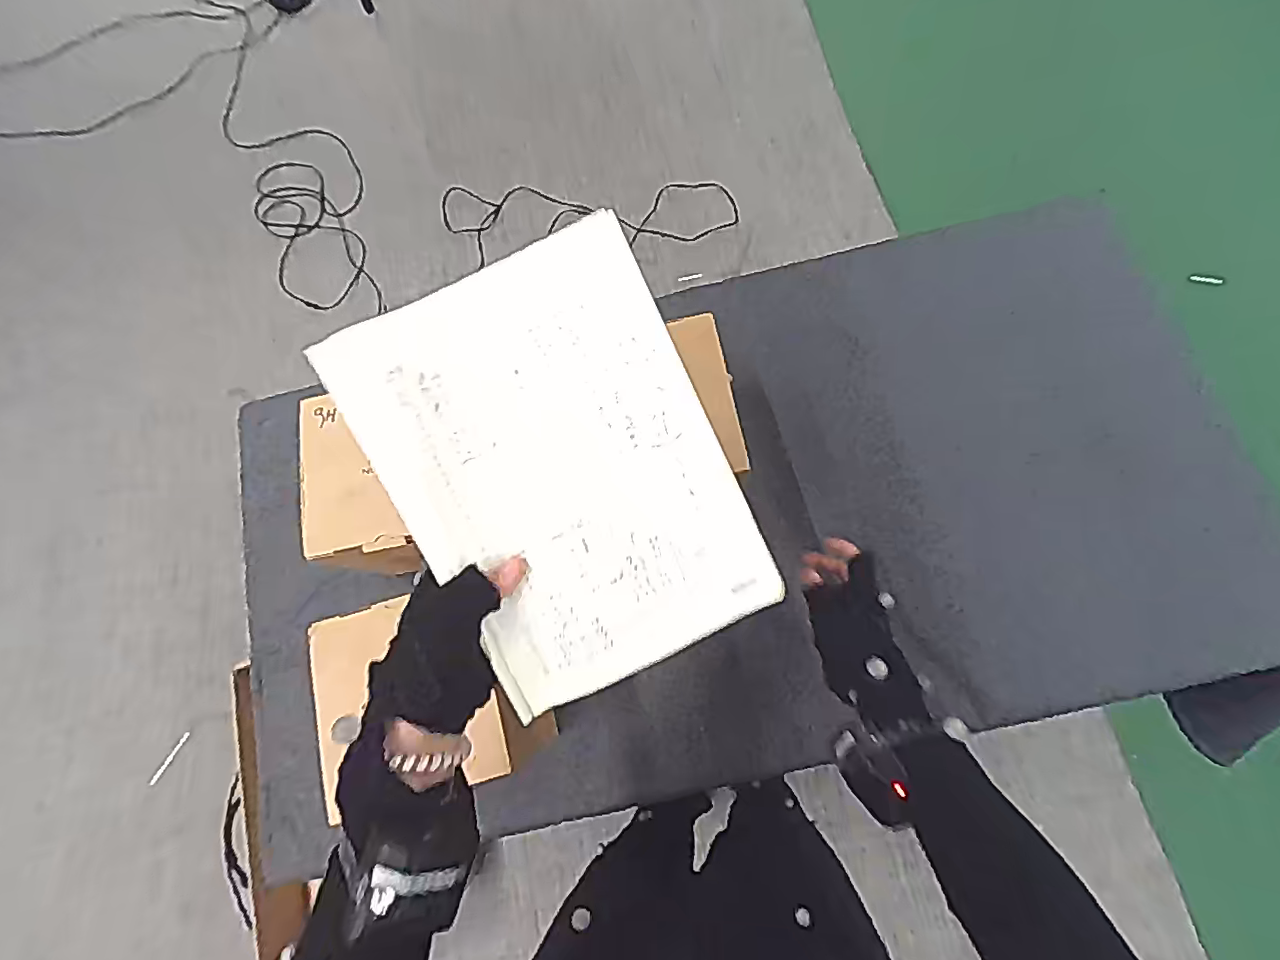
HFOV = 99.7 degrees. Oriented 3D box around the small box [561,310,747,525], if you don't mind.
[{"bbox_3d":[0.017,-0.059,0.614,0.168,0.176,0.179,-11,75,4],"label":"small box"}]
